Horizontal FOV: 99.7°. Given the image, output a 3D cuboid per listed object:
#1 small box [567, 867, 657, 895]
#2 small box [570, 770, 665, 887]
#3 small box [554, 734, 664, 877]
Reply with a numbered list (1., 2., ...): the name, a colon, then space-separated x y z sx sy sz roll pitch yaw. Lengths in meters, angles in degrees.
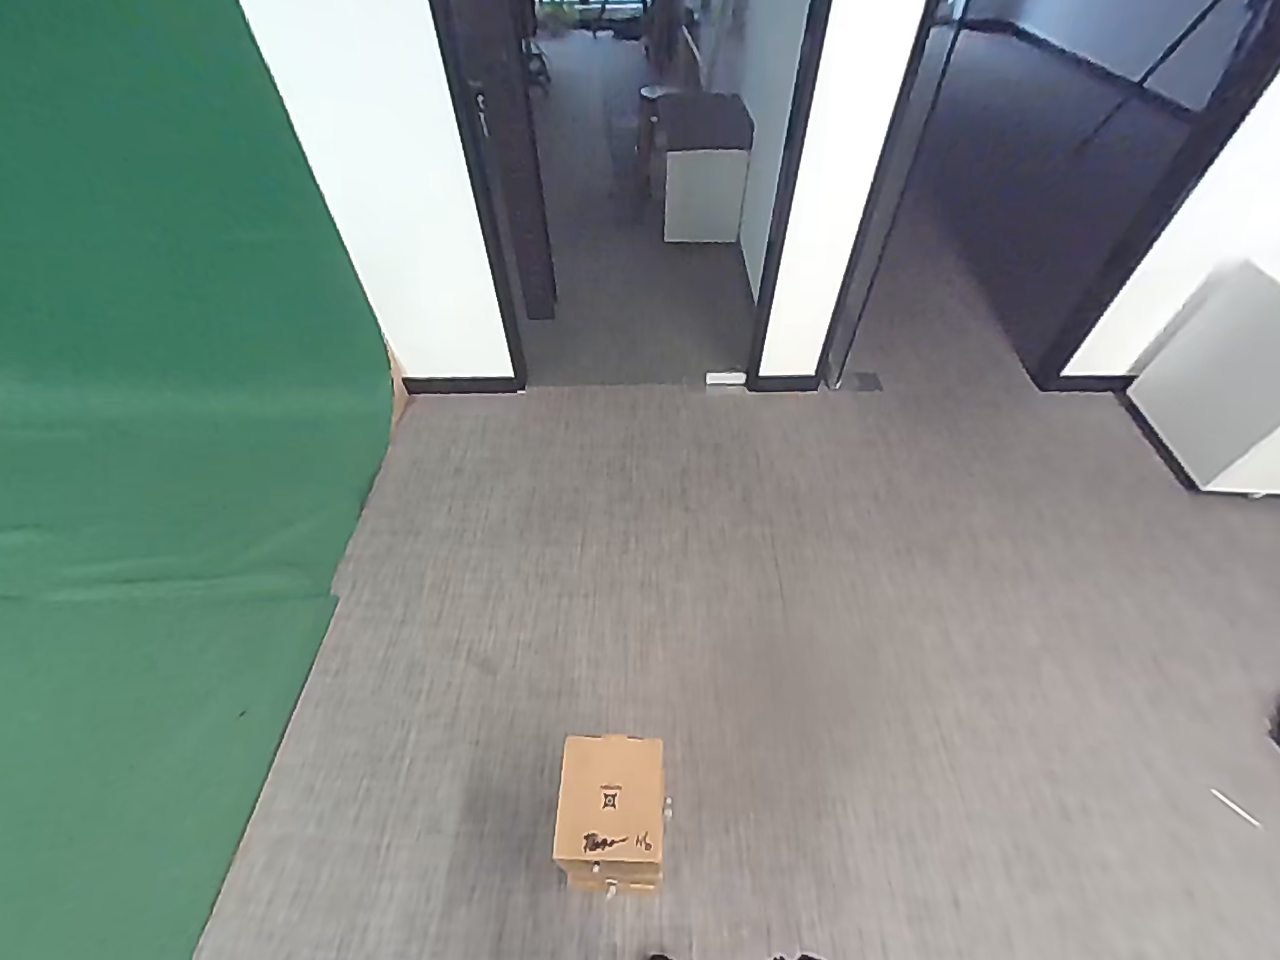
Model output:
1. small box: -0.050 0.777 1.156 0.179 0.176 0.168 1 49 3
2. small box: -0.036 0.665 1.040 0.168 0.176 0.179 0 49 2
3. small box: -0.044 0.554 0.919 0.168 0.176 0.179 0 48 2
